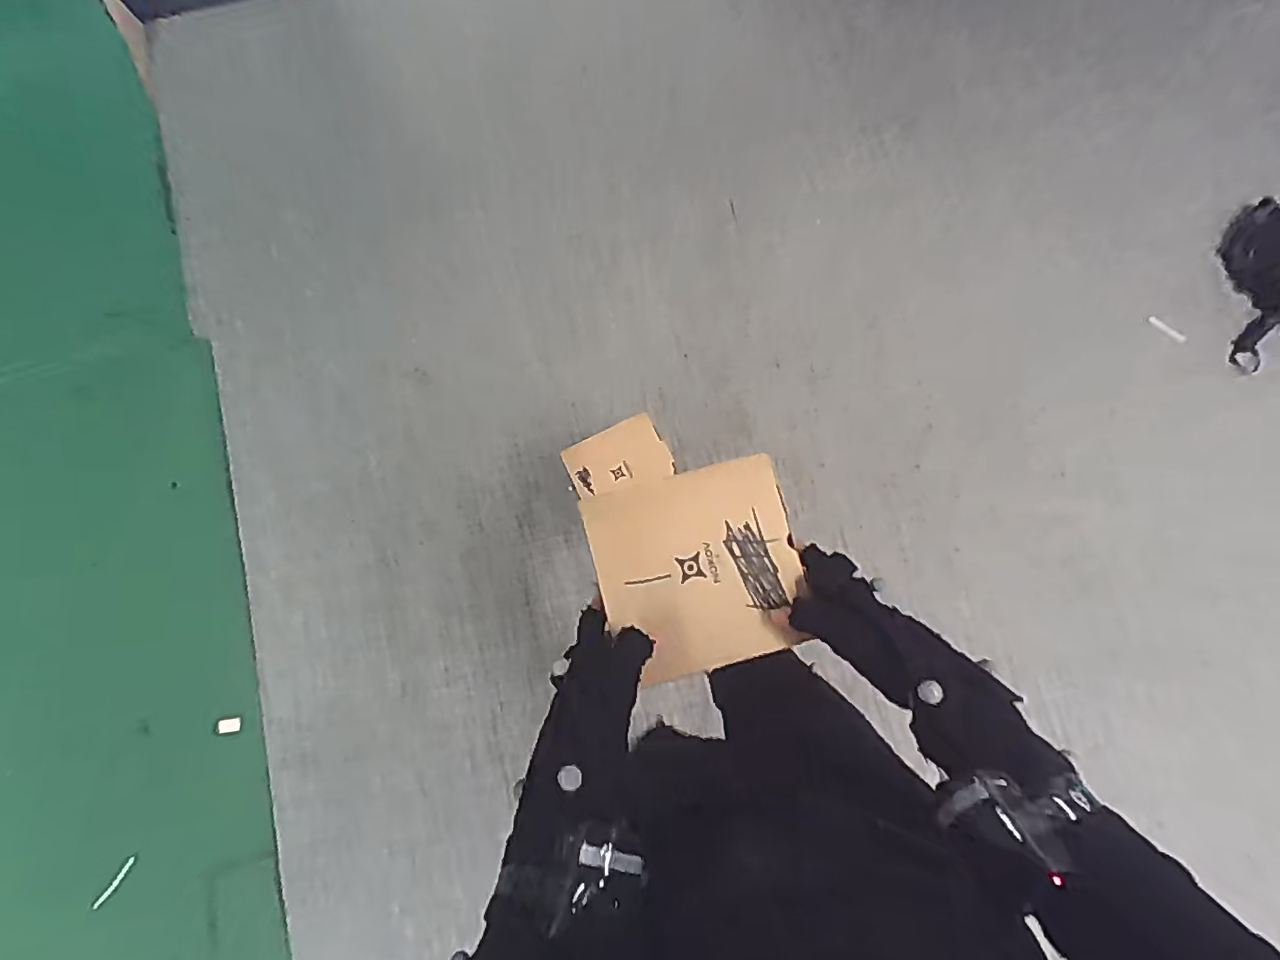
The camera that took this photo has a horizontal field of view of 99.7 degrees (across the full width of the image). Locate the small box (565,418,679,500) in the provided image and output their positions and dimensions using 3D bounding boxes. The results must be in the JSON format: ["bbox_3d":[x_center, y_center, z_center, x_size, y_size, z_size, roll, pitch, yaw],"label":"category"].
[{"bbox_3d":[-0.024,0.005,1.038,0.179,0.176,0.168,-29,84,-3],"label":"small box"}]

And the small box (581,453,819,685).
[{"bbox_3d":[0.047,0.086,0.543,0.179,0.176,0.168,-15,80,-4],"label":"small box"}]
